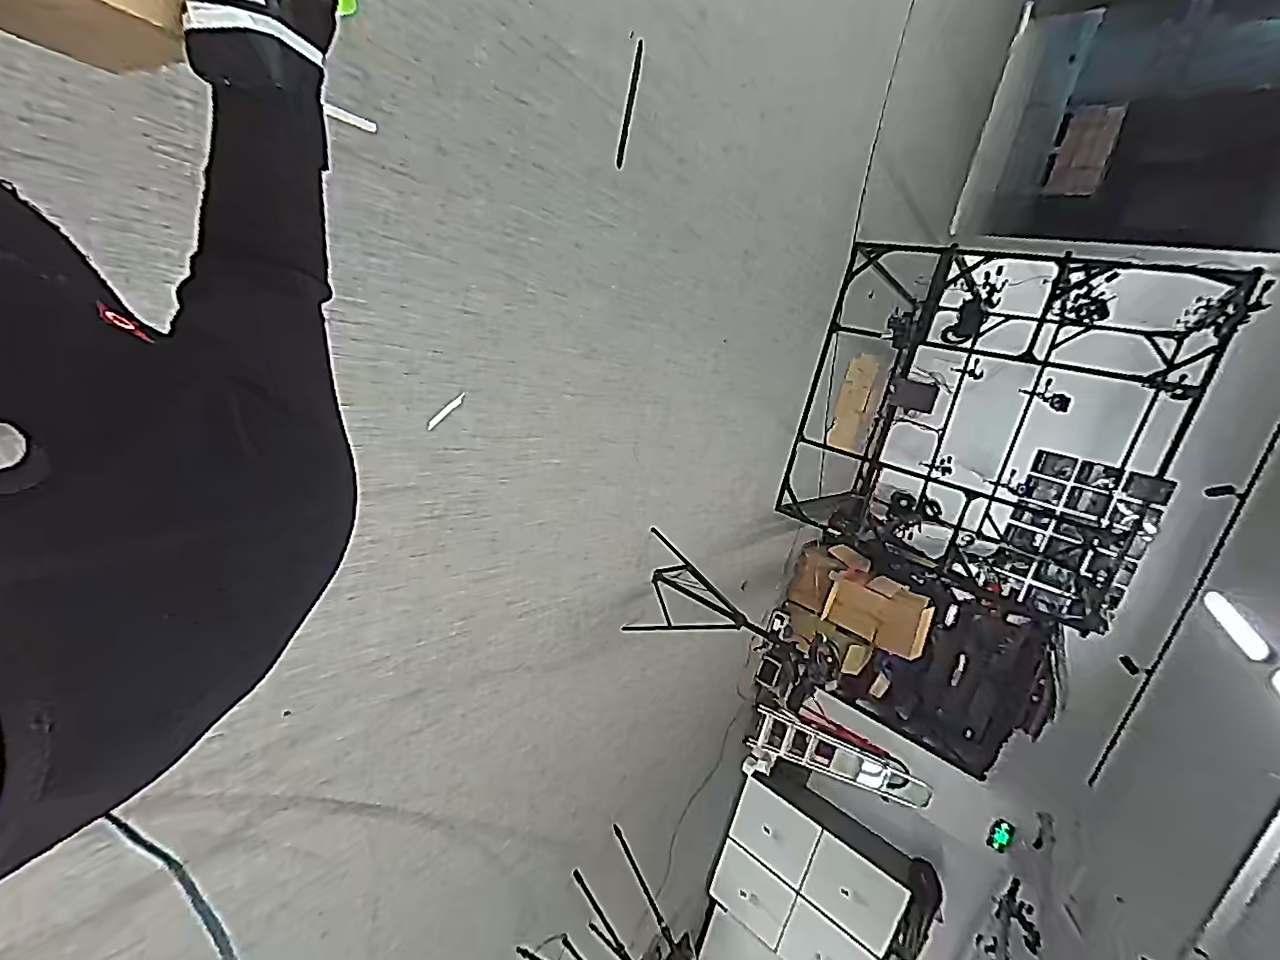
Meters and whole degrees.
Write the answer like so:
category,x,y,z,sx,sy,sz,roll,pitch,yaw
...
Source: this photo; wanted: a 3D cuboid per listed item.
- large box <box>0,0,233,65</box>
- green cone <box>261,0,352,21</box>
category,x,y,z,sx,sy,sz,roll,pitch,yaw
large box,-0.485,-0.479,0.258,0.408,0.320,0.320,-7,118,-54
green cone,-0.576,-1.010,0.995,0.202,0.368,0.200,-47,142,-30
